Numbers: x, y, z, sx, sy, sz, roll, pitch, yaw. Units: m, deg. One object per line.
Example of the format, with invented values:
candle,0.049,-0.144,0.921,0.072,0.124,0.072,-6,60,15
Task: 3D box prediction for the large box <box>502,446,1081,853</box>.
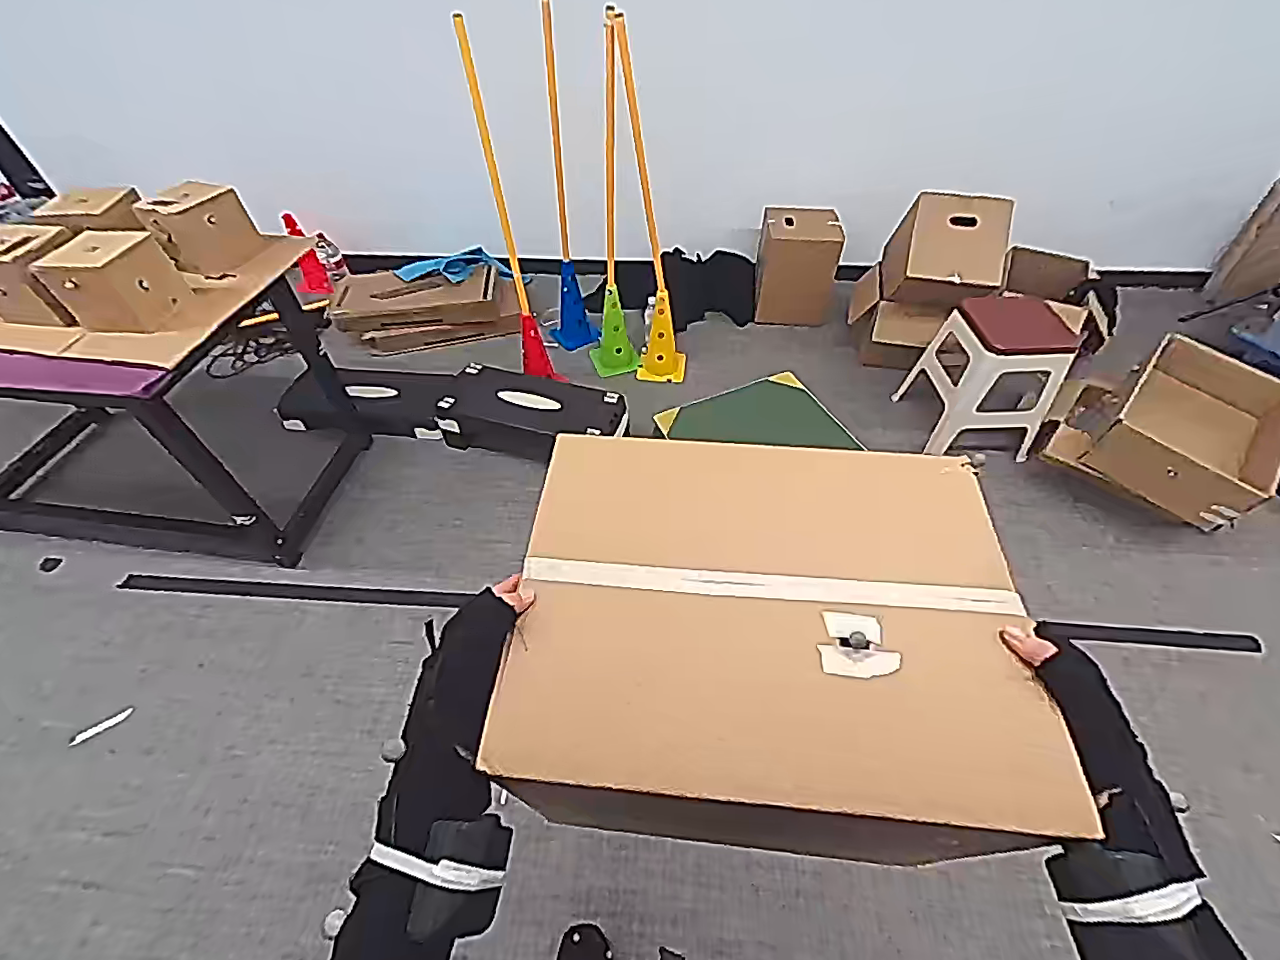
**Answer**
large box,0.111,0.186,0.577,0.408,0.320,0.320,4,53,4
